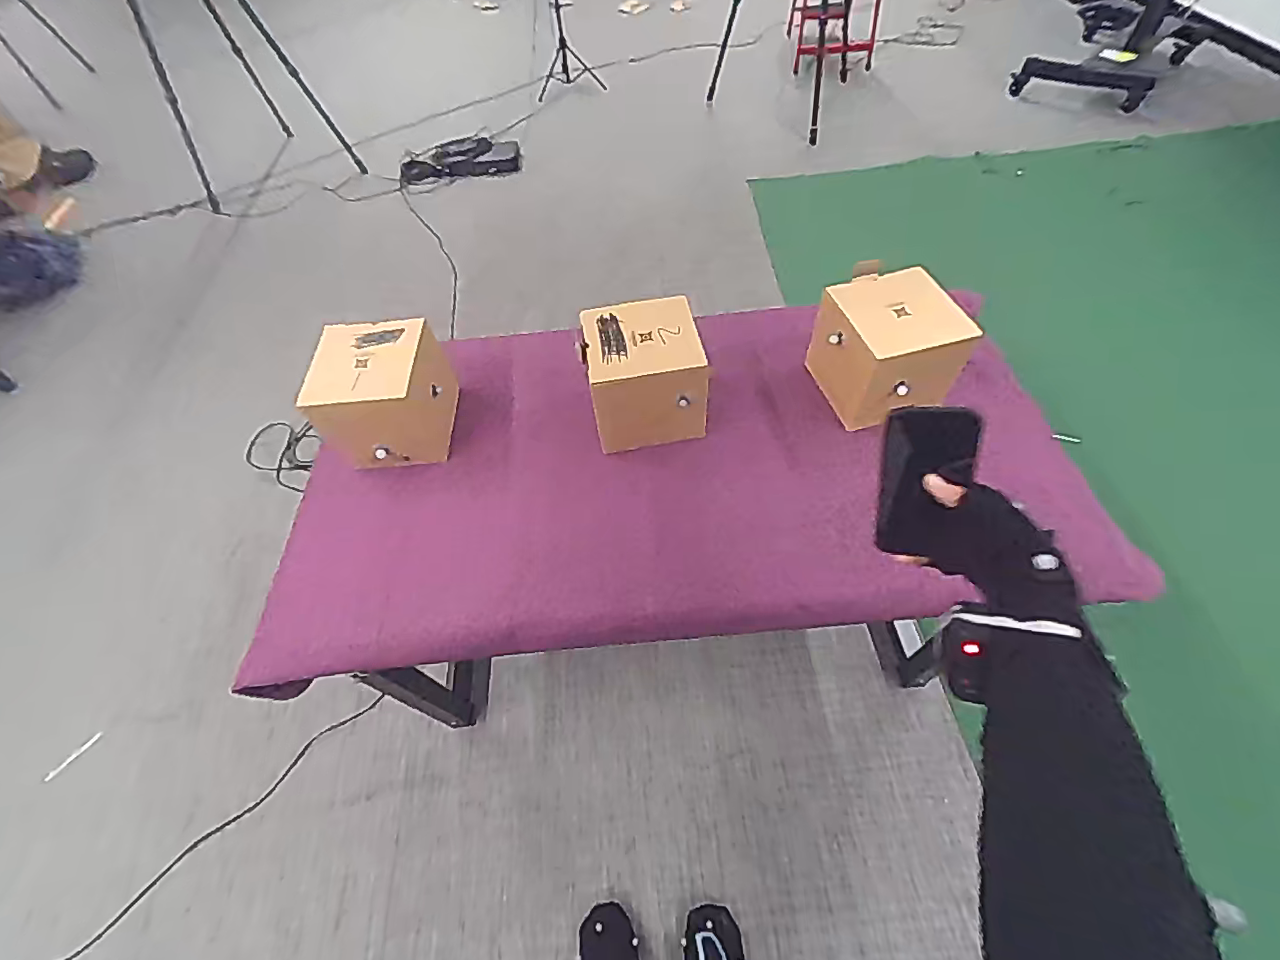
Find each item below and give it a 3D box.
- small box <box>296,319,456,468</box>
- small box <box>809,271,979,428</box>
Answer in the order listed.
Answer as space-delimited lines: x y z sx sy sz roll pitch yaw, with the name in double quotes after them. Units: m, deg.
-0.417 -0.139 0.892 0.168 0.176 0.179 -4 57 1 "small box"
0.395 -0.202 0.879 0.168 0.176 0.179 -14 55 -5 "small box"
